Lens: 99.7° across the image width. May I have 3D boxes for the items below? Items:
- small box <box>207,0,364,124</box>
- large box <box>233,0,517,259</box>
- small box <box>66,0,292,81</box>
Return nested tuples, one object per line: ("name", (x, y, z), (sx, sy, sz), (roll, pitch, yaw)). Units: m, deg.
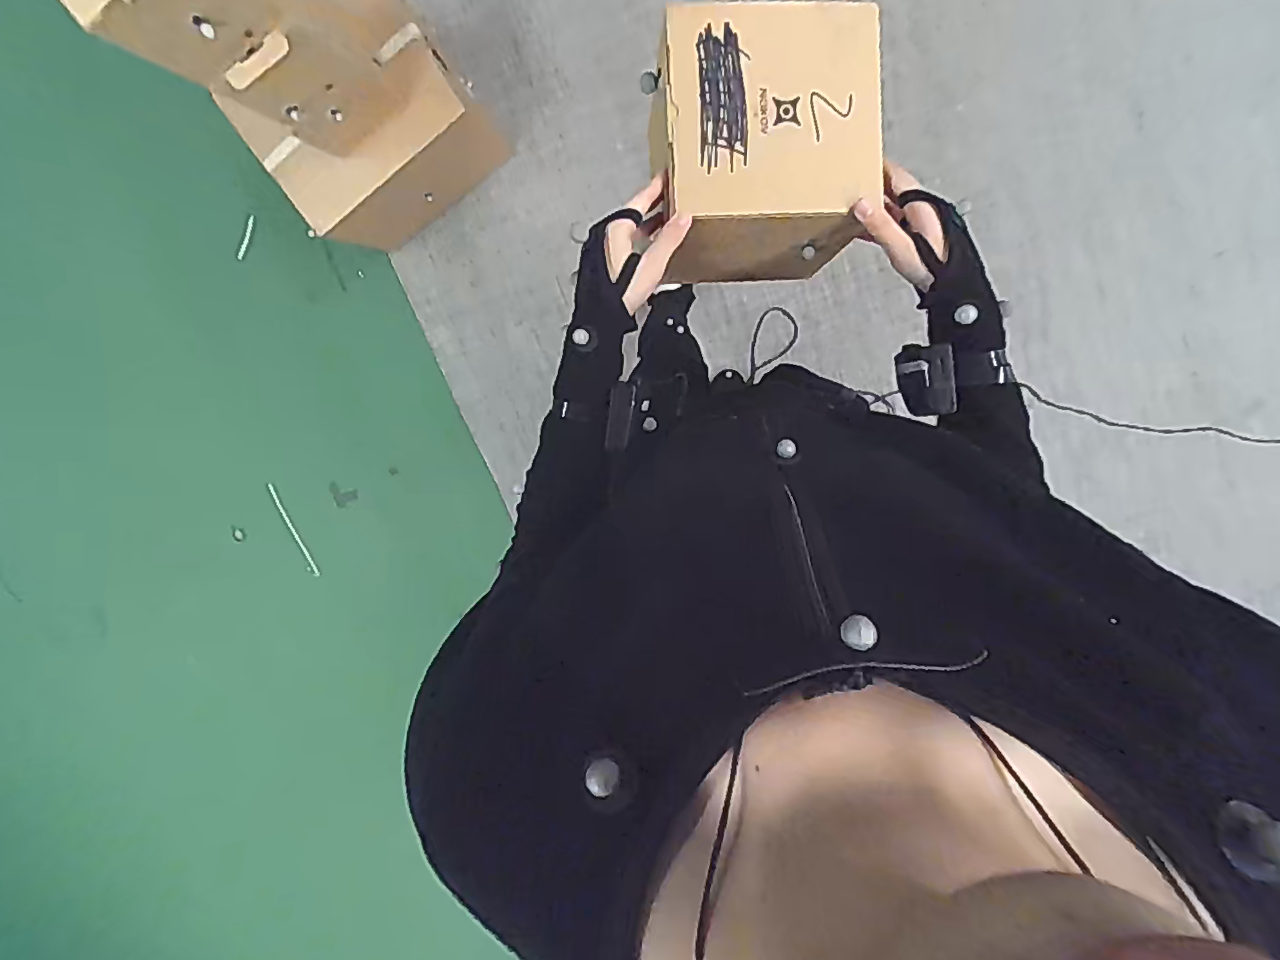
("small box", (-0.552, -0.664, 0.796), (0.168, 0.176, 0.179), (-27, 103, 11))
("large box", (-0.552, -0.754, 1.196), (0.408, 0.320, 0.320), (-32, 100, 14))
("small box", (-0.569, -0.618, 0.639), (0.168, 0.176, 0.179), (-29, 104, 11))
